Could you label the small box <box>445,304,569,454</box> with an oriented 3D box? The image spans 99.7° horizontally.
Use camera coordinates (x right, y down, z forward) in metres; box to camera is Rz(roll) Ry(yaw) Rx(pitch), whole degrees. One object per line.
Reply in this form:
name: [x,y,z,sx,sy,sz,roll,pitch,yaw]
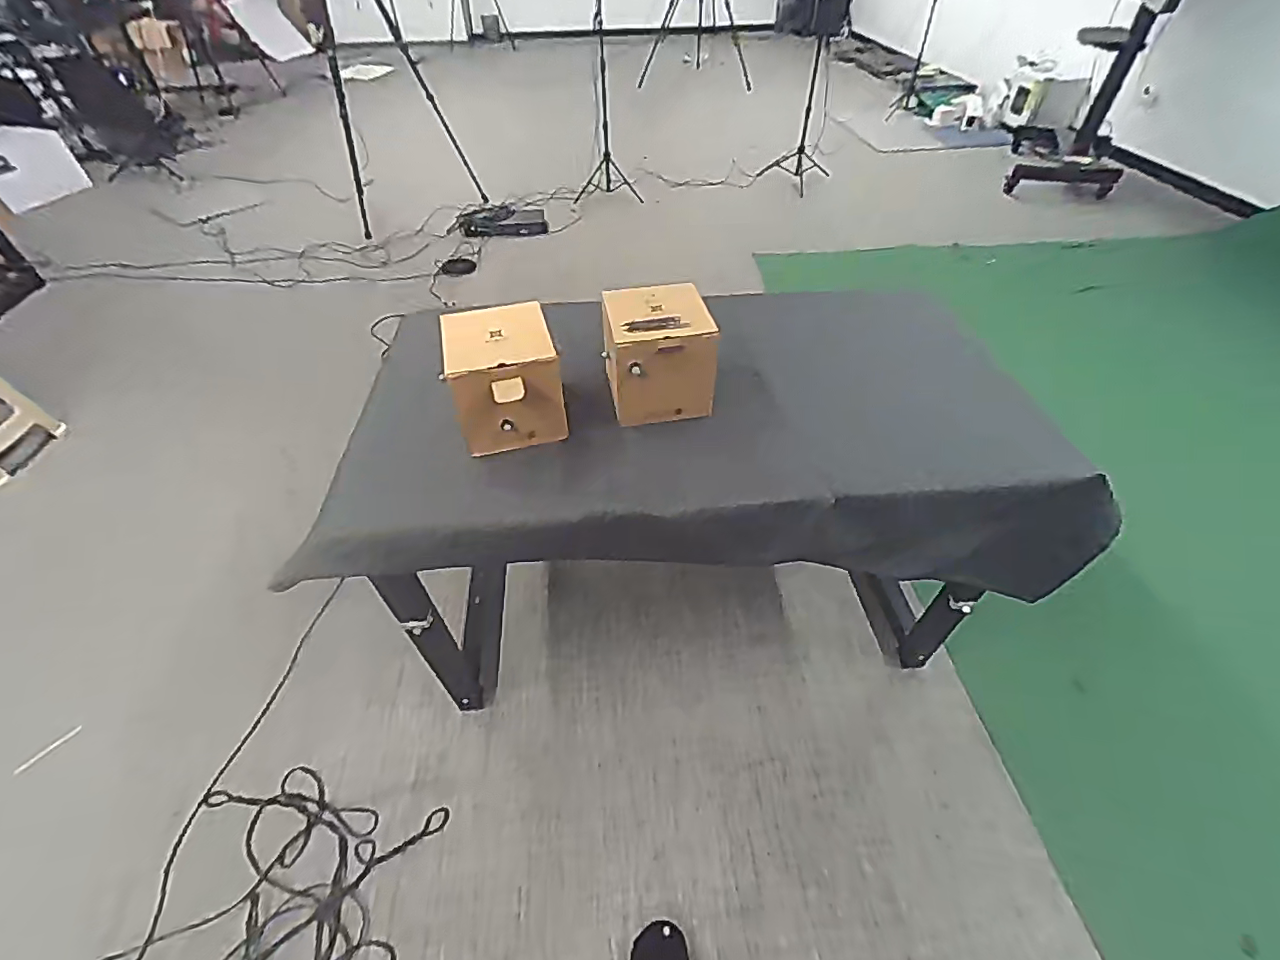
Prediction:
small box: [-0.221,-0.169,0.906,0.168,0.176,0.179,-12,48,-11]
